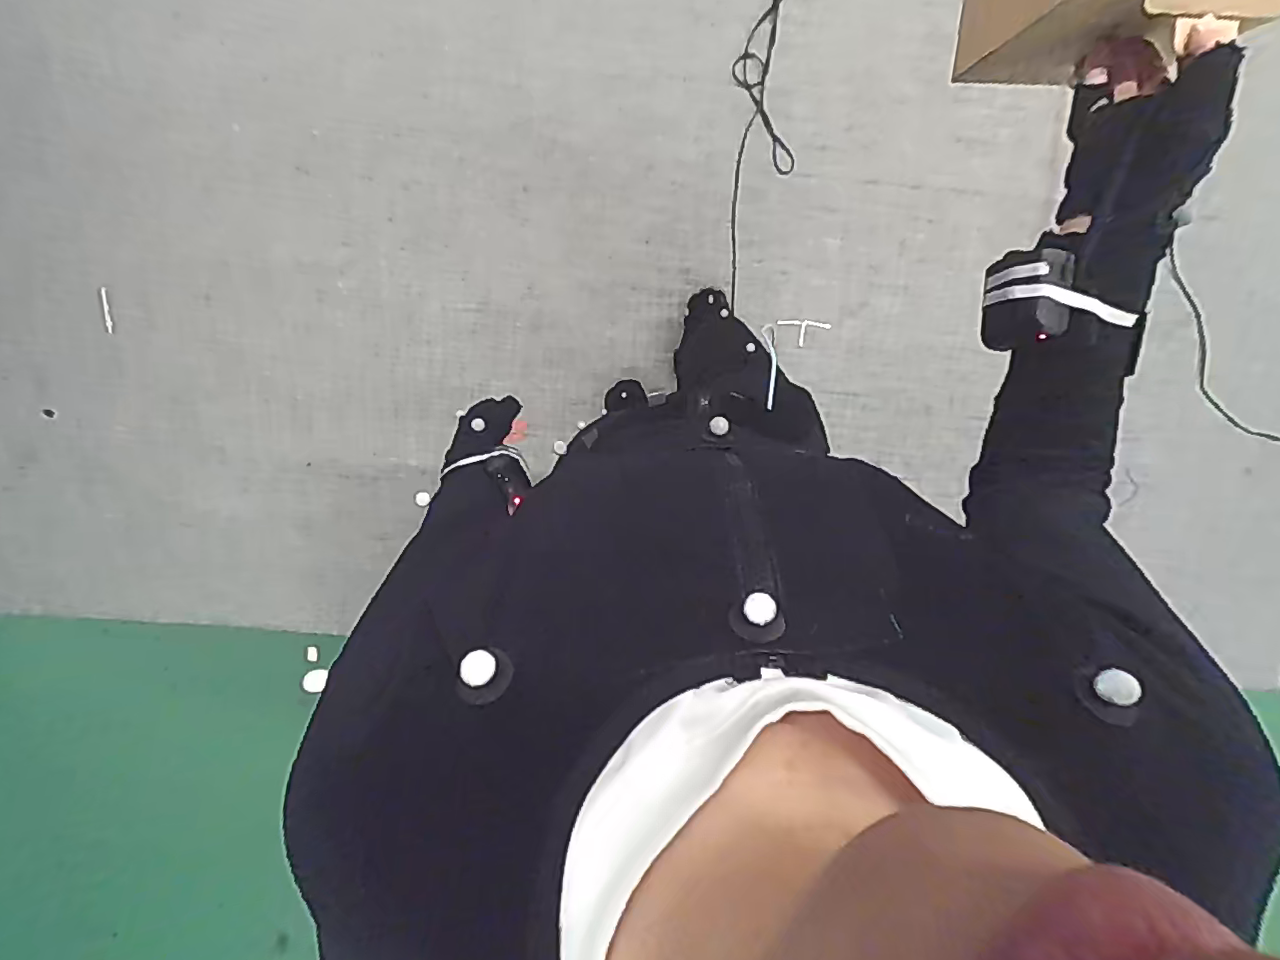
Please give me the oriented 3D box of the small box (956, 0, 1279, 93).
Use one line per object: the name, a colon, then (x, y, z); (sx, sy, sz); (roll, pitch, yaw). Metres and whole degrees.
small box: (0.363, -0.417, 0.390); (0.168, 0.176, 0.179); (0, 107, -3)
